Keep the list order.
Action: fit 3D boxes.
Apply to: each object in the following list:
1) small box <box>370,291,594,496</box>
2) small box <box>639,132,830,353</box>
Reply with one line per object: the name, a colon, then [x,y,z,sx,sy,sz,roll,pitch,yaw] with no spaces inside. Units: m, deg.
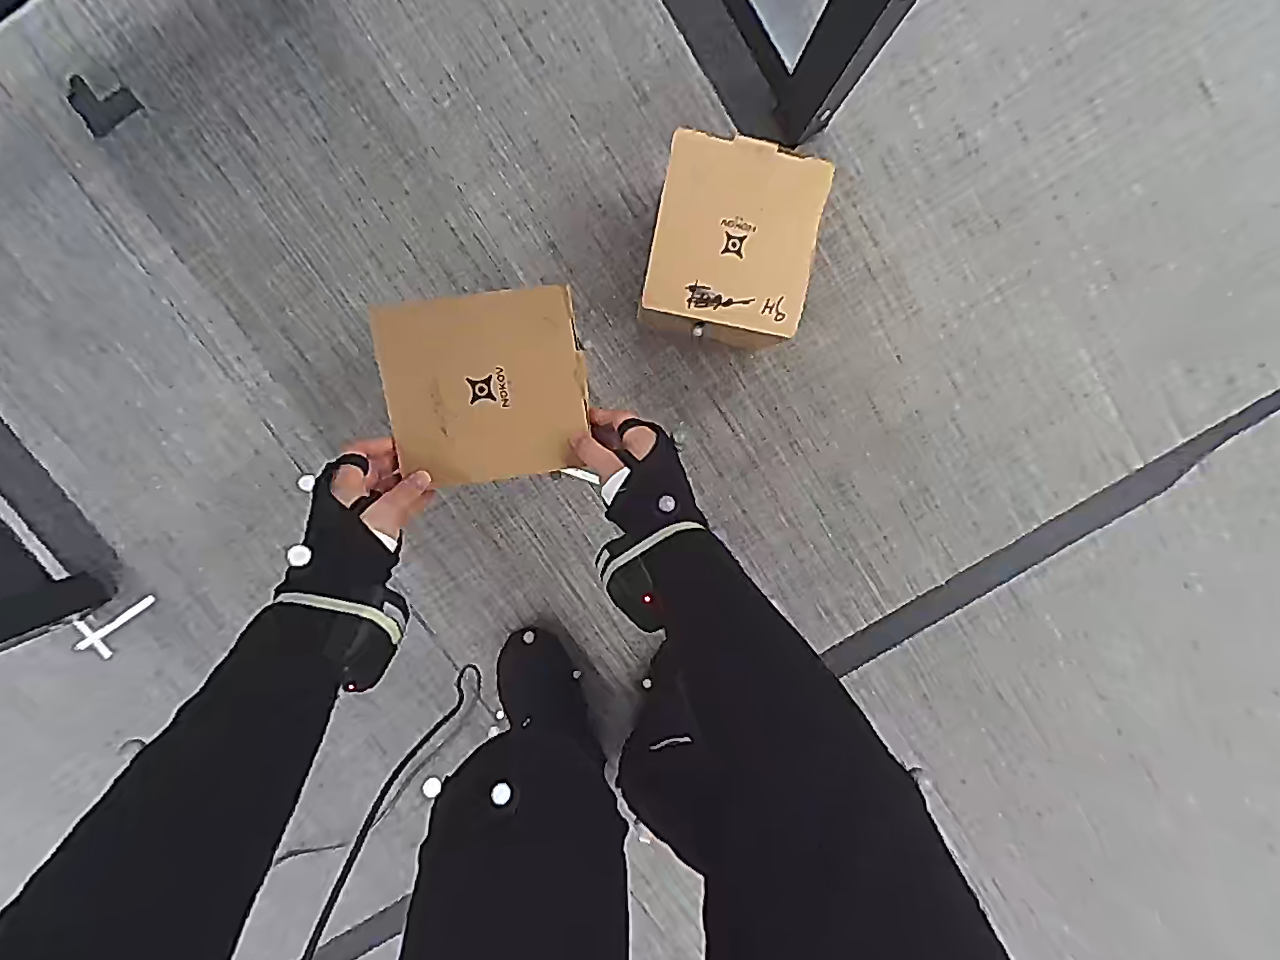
small box: [-0.148,-0.087,0.566,0.179,0.176,0.168,-10,96,-4]
small box: [0.093,-0.254,0.622,0.168,0.176,0.179,10,98,-3]
